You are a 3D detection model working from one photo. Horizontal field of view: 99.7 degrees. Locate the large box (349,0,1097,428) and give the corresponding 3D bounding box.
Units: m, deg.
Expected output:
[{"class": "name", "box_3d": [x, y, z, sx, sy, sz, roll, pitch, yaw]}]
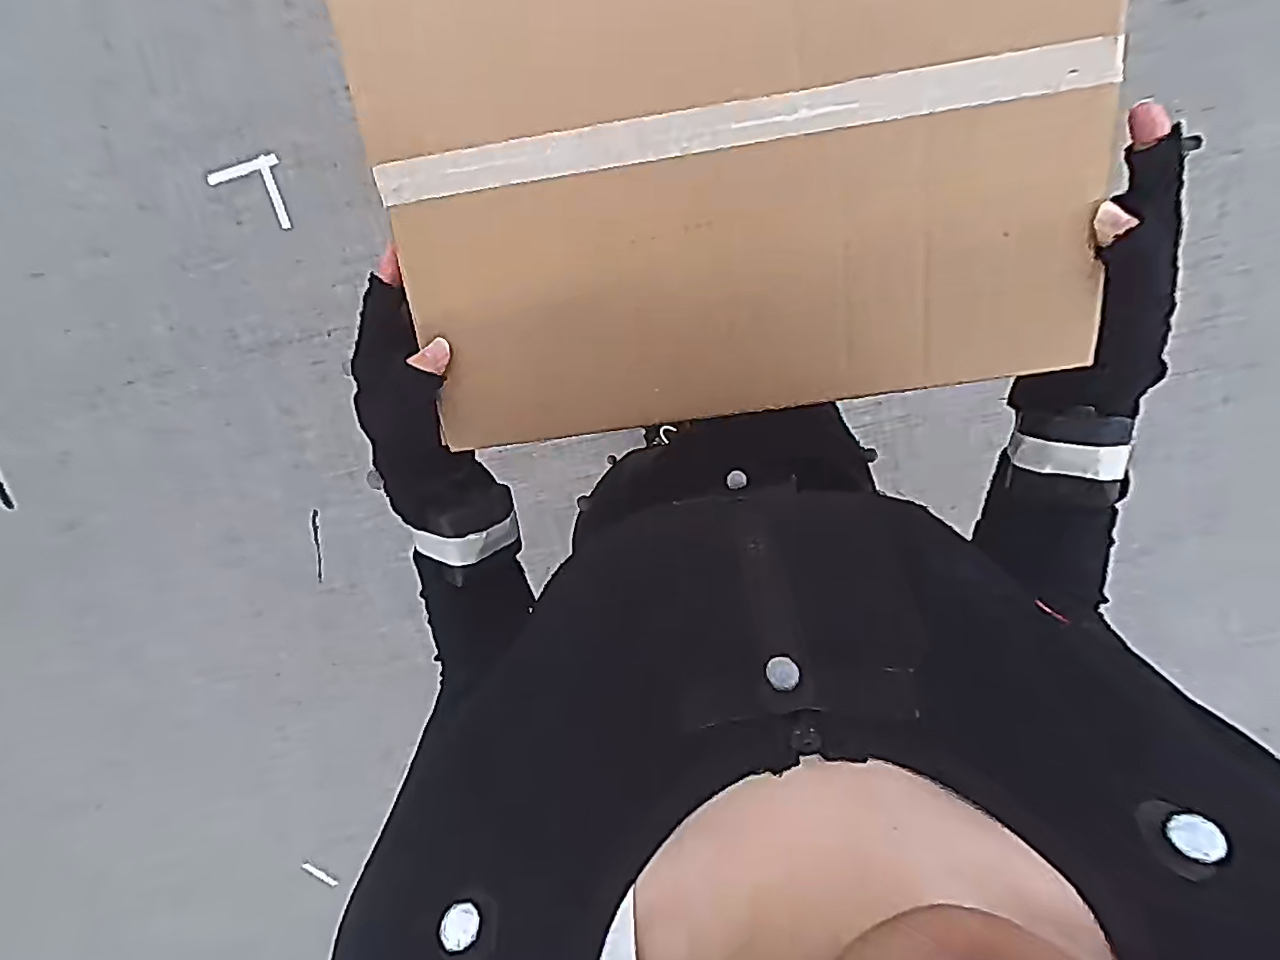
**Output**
[{"class": "large box", "box_3d": [0.051, -0.248, 0.450, 0.408, 0.320, 0.320, -8, 107, 3]}]
